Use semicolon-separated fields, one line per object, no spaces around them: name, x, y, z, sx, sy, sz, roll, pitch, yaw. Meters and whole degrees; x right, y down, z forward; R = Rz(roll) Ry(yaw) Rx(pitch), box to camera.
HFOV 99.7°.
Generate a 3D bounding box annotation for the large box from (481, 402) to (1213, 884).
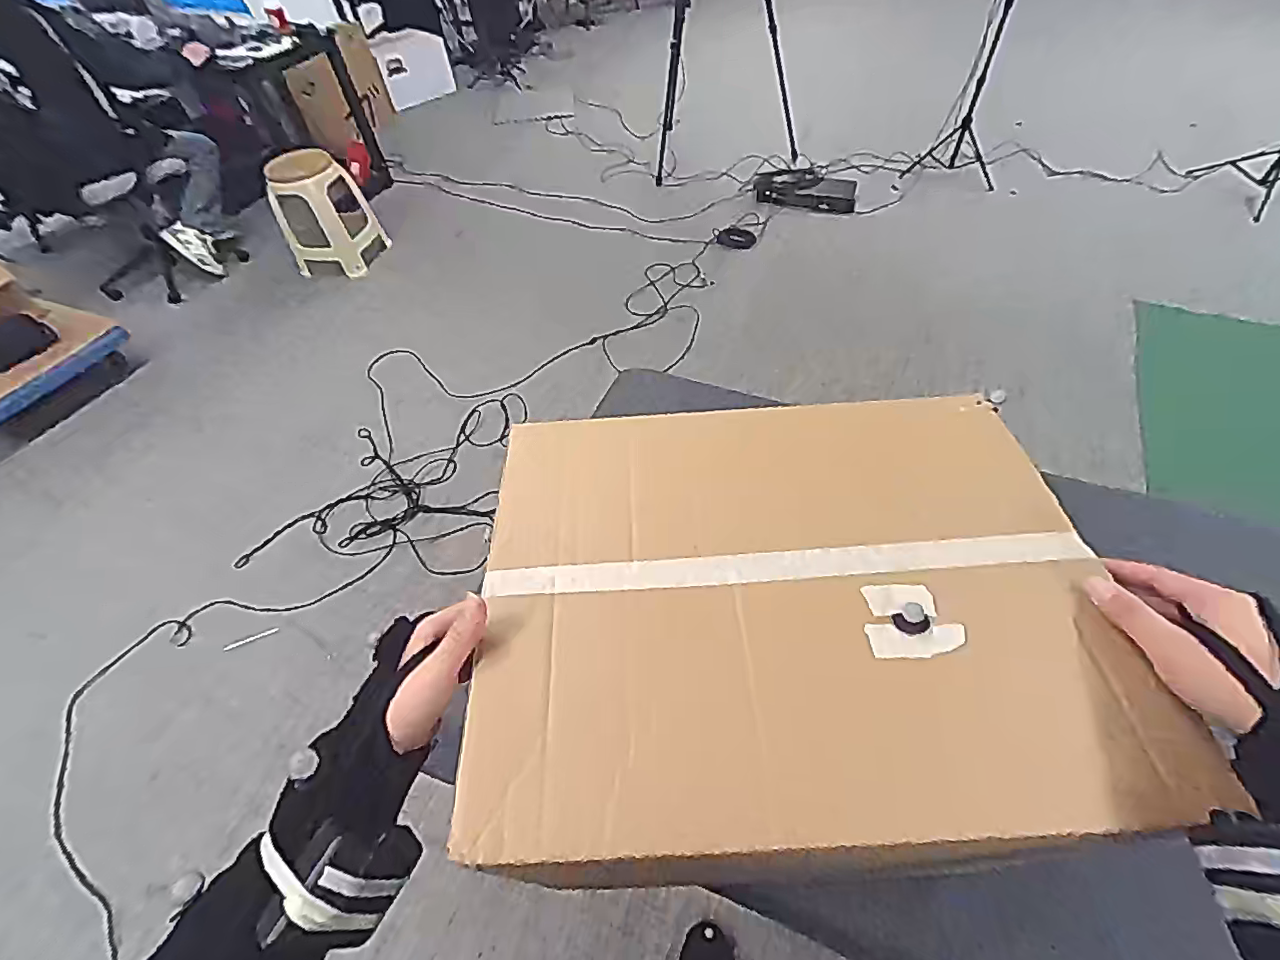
large box;0.107;0.155;0.494;0.408;0.320;0.320;-3;51;0
